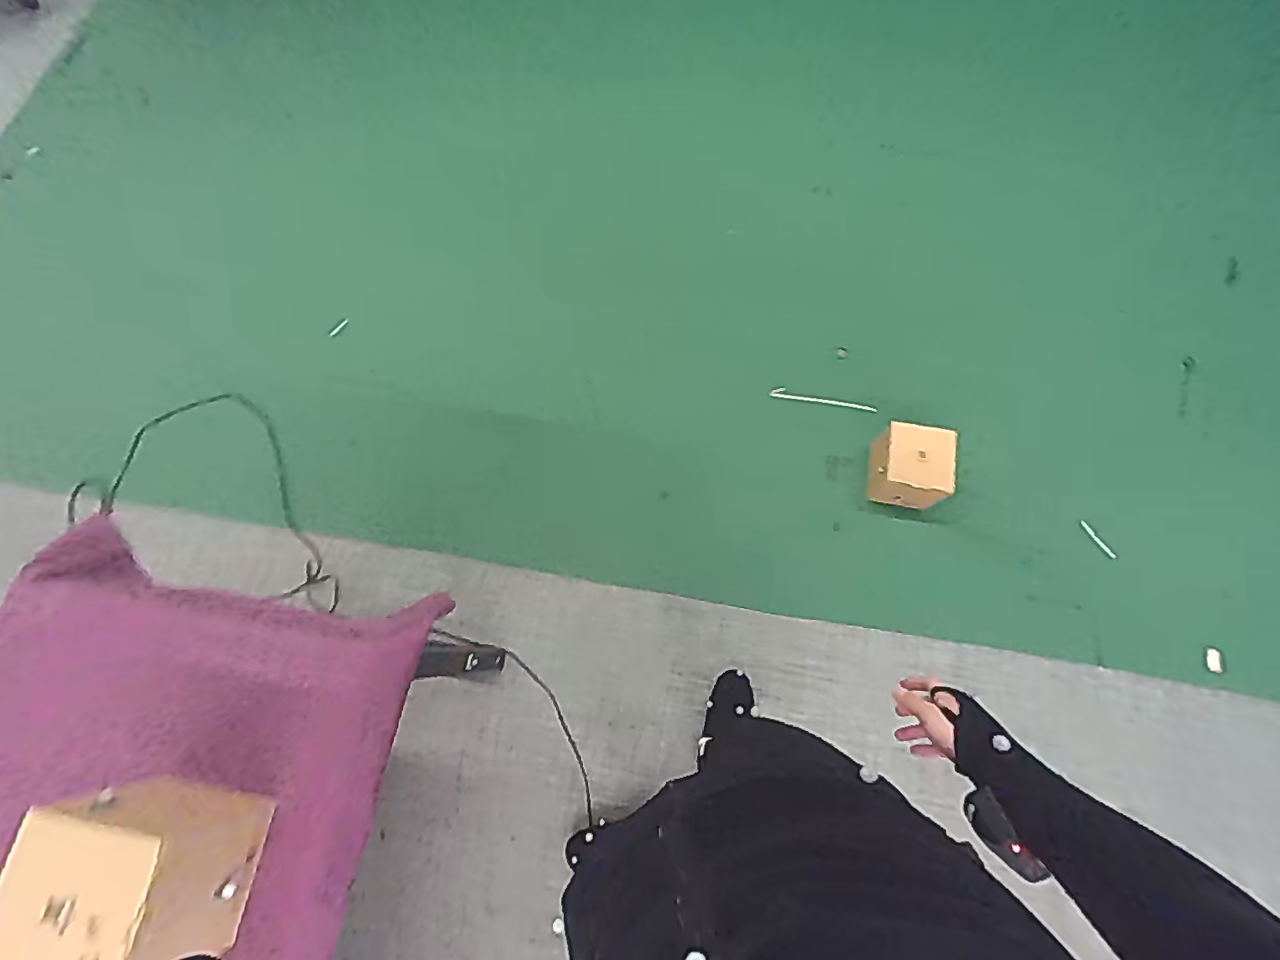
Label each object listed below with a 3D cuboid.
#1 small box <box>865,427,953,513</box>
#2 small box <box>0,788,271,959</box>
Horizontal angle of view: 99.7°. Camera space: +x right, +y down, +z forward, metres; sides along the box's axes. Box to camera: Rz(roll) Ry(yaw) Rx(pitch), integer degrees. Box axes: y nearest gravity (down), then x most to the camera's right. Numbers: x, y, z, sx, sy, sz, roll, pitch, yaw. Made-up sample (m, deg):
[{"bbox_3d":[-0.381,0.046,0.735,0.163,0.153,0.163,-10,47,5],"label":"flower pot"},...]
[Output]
[{"bbox_3d":[0.735,-0.024,1.490,0.168,0.176,0.179,10,73,6],"label":"small box"},{"bbox_3d":[-0.590,0.478,0.631,0.179,0.176,0.168,7,73,6],"label":"small box"}]
